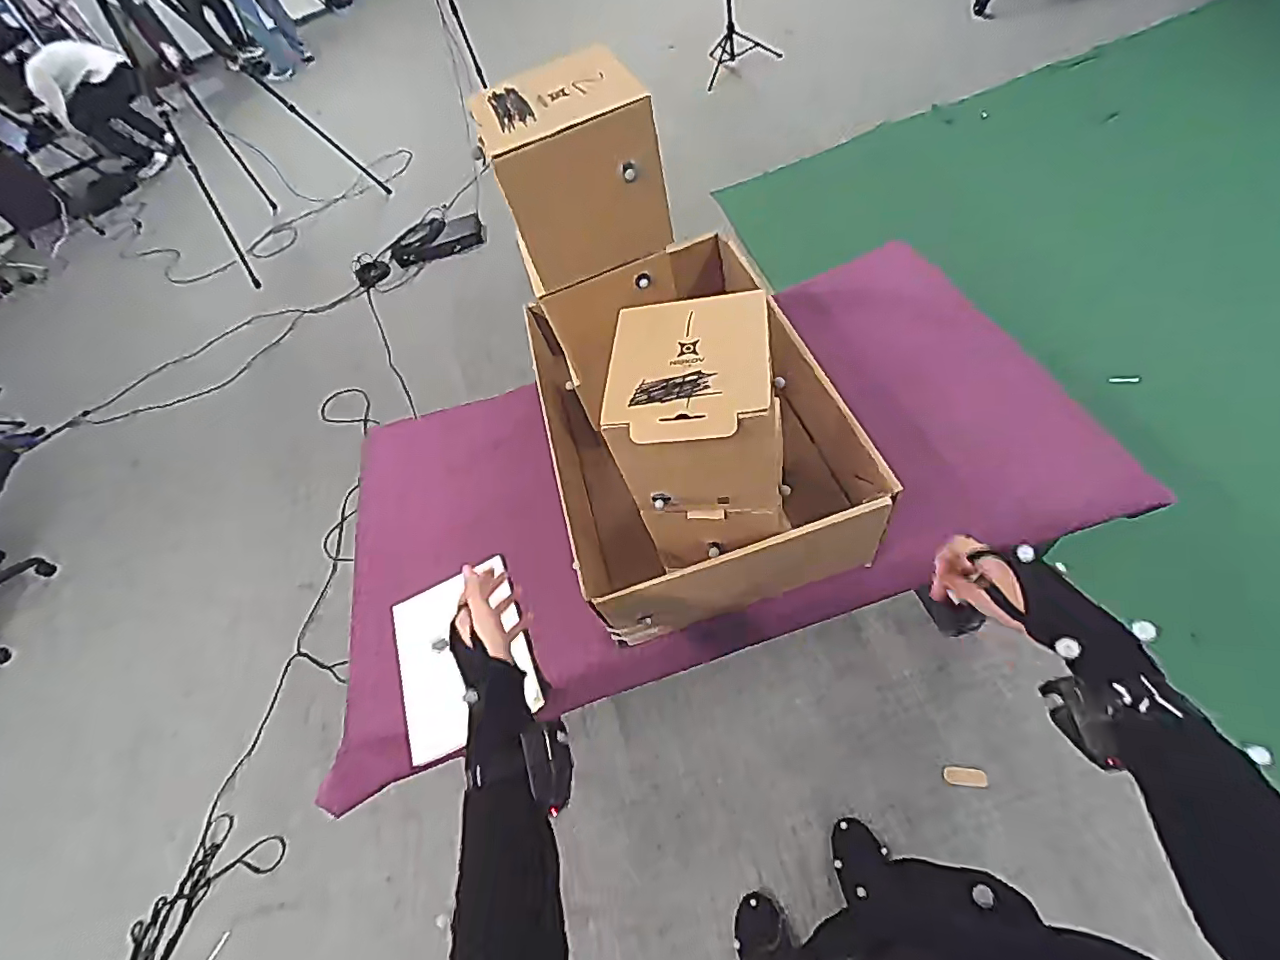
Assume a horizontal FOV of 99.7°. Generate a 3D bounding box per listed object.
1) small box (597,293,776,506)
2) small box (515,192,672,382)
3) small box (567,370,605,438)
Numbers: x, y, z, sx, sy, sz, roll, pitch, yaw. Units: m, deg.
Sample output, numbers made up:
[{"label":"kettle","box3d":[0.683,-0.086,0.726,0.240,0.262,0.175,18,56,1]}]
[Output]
[{"label":"small box","box3d":[0.064,-0.079,0.615,0.168,0.176,0.179,-3,55,15]},{"label":"small box","box3d":[-0.057,-0.271,0.784,0.179,0.176,0.168,-21,55,0]},{"label":"small box","box3d":[-0.028,-0.187,0.919,0.168,0.176,0.179,-19,56,2]}]
